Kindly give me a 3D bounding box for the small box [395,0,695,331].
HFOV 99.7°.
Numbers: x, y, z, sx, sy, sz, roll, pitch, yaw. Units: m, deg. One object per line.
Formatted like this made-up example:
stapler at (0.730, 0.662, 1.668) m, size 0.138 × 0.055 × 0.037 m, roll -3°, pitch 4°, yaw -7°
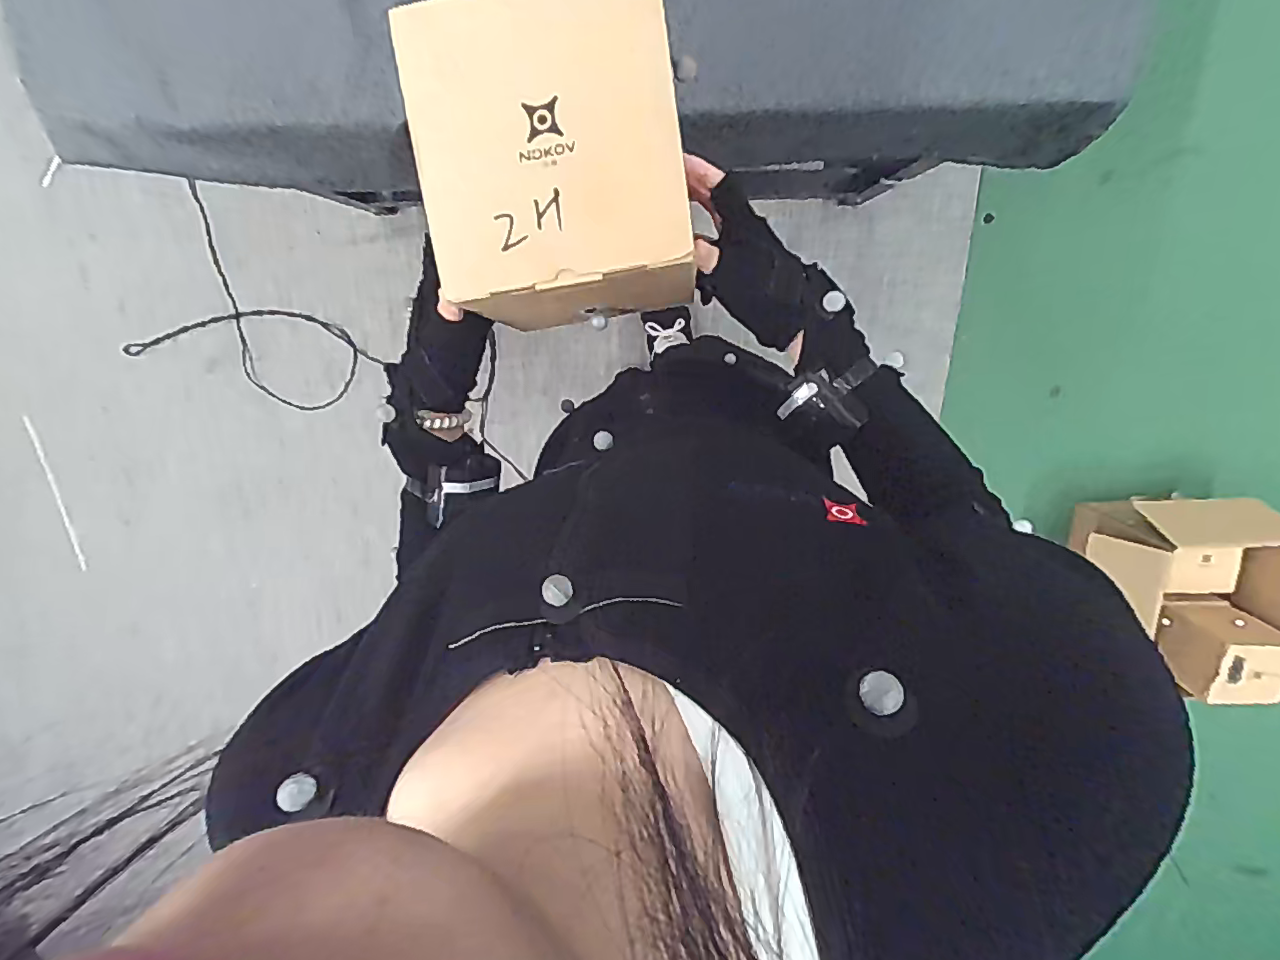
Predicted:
small box at (-0.051, -0.221, 0.409) m, size 0.168 × 0.176 × 0.179 m, roll -7°, pitch 98°, yaw 7°
